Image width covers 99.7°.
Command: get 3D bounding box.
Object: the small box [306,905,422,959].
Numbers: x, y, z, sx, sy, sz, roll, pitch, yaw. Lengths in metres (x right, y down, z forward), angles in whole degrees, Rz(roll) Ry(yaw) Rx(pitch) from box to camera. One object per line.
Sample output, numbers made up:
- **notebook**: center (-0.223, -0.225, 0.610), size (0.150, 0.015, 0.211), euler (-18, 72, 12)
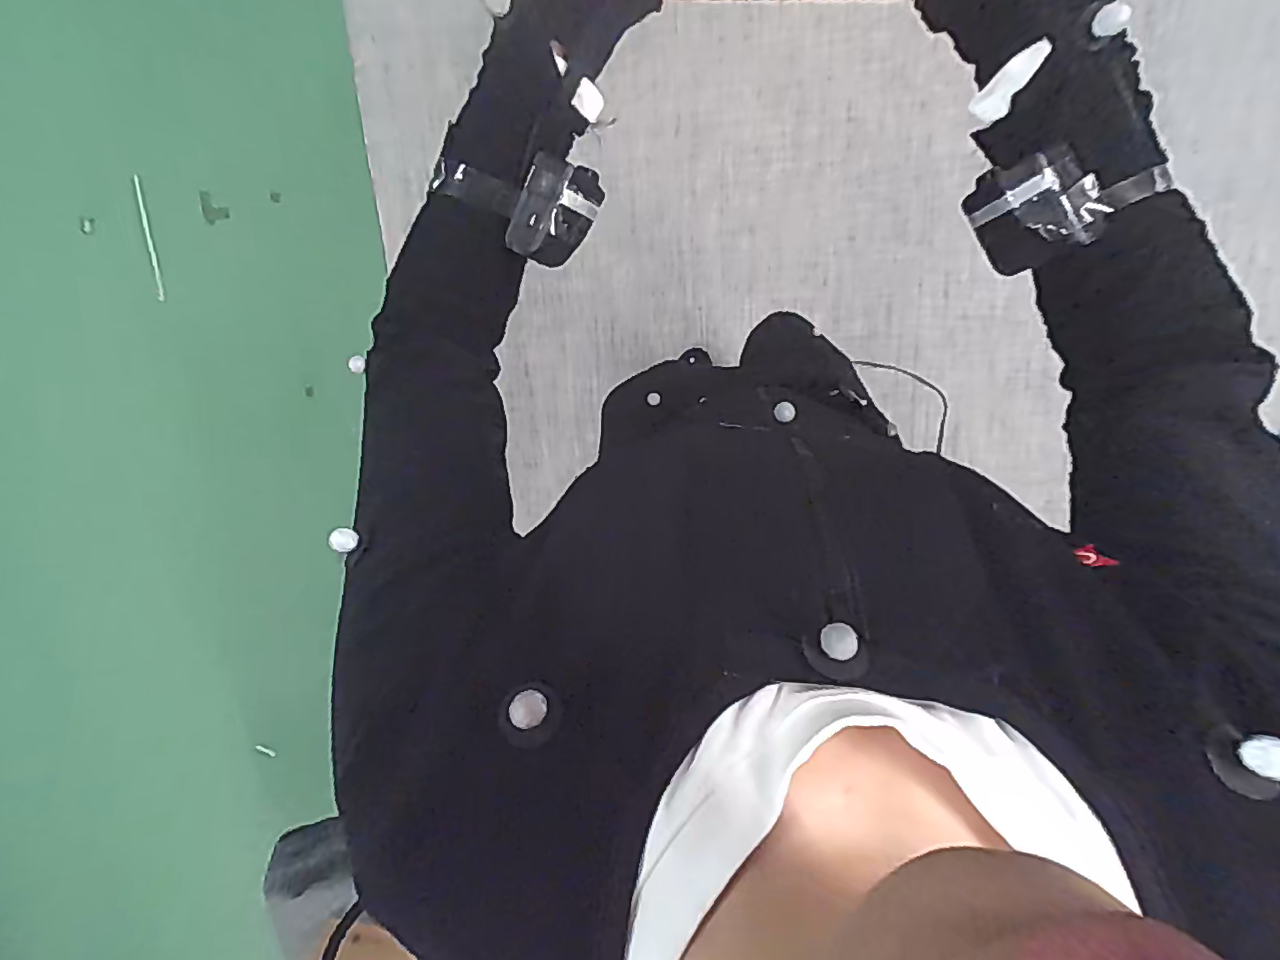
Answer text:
- **small box**: center (-0.496, 0.890, 0.936), size (0.168, 0.176, 0.179), euler (11, 107, 4)
